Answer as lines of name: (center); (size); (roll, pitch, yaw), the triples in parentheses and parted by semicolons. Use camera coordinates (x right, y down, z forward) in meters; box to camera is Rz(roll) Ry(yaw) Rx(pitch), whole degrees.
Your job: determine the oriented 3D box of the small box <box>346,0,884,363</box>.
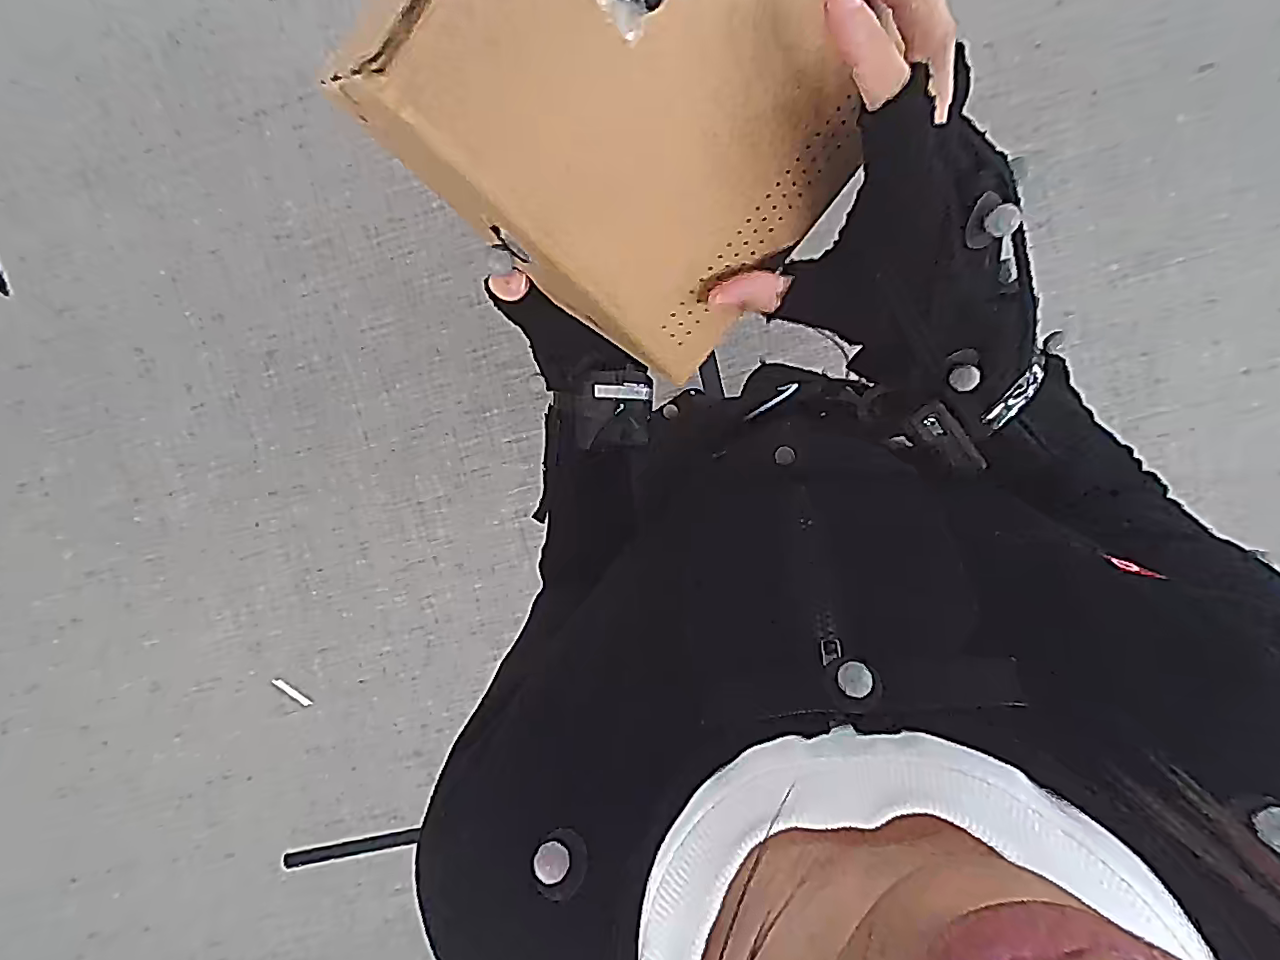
small box: (-0.013, -0.189, 0.271); (0.179, 0.168, 0.176); (-50, 134, 6)
